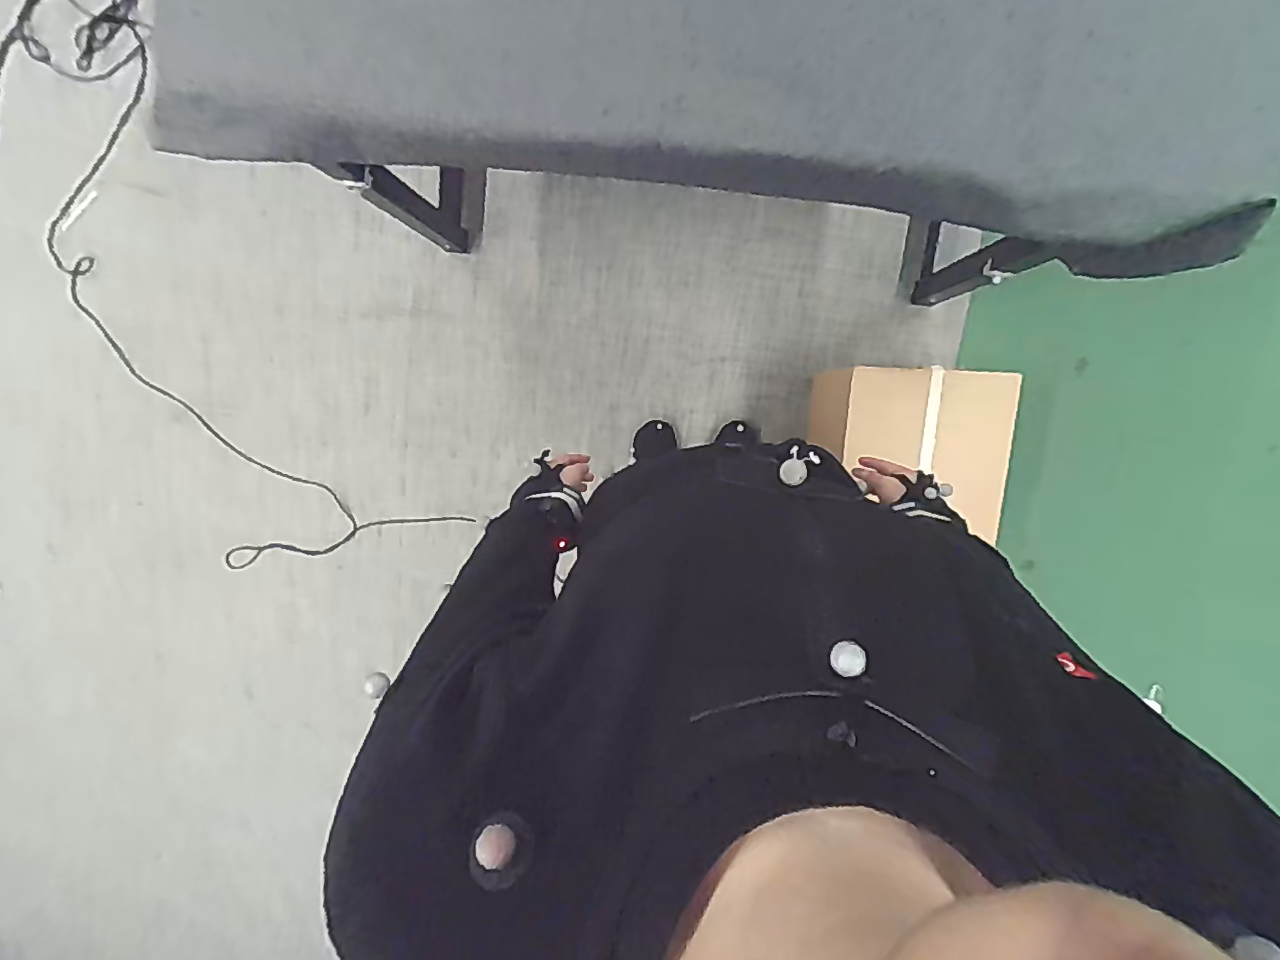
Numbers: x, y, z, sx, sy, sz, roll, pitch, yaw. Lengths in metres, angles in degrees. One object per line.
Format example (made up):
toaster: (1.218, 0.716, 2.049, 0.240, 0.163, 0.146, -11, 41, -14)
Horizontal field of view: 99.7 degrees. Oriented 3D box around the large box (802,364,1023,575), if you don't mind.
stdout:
large box: (0.557, -0.042, 1.180, 0.320, 0.320, 0.408, 3, 100, 4)
